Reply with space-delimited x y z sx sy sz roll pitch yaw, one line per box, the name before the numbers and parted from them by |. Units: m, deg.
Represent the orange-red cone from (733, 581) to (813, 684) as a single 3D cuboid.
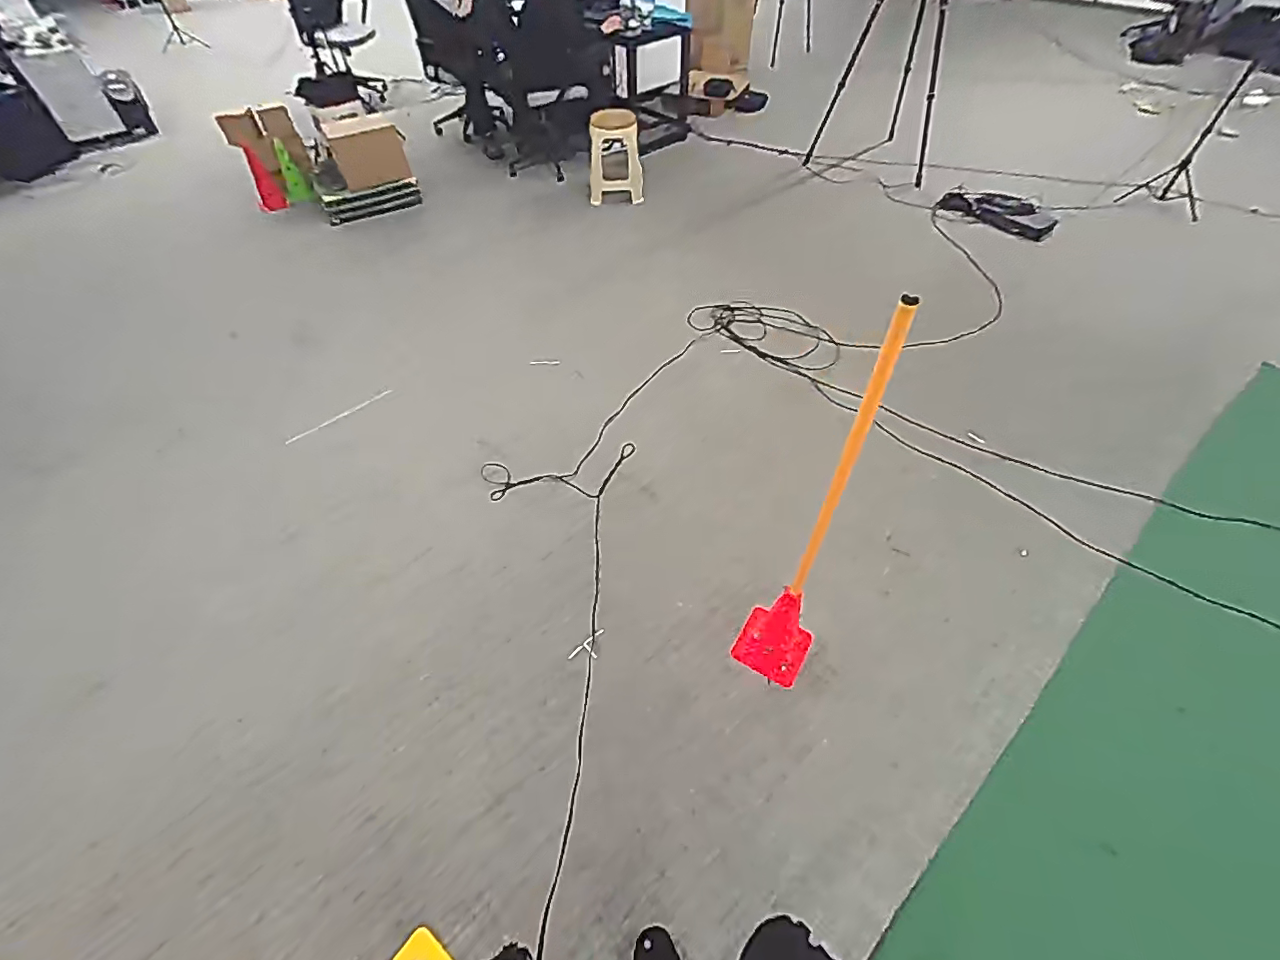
orange-red cone | 0.404 0.385 1.509 0.198 0.360 0.199 27 55 21
